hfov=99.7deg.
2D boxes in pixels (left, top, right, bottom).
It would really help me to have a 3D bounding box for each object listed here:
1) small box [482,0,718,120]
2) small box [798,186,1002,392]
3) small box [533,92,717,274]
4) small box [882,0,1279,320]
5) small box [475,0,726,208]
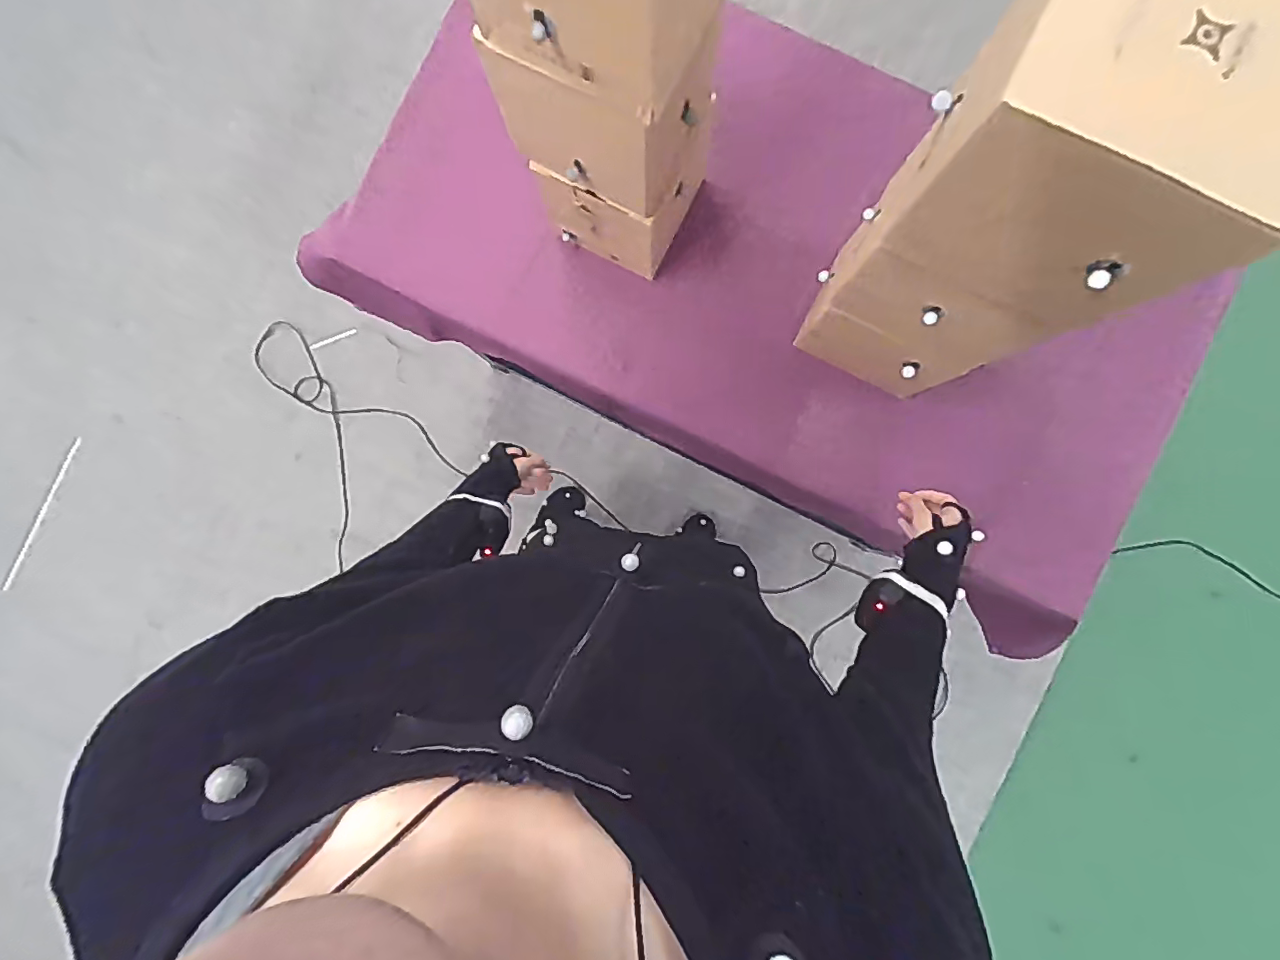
[{"bbox_3d":[-0.023,-0.418,0.388,0.168,0.176,0.179,27,90,2],"label":"small box"},{"bbox_3d":[0.335,-0.228,0.701,0.179,0.176,0.168,28,89,2],"label":"small box"},{"bbox_3d":[-0.016,-0.406,0.715,0.168,0.176,0.179,27,88,1],"label":"small box"},{"bbox_3d":[0.309,-0.232,0.373,0.179,0.176,0.168,28,89,3],"label":"small box"},{"bbox_3d":[-0.030,-0.414,0.551,0.179,0.176,0.168,28,89,1],"label":"small box"}]
